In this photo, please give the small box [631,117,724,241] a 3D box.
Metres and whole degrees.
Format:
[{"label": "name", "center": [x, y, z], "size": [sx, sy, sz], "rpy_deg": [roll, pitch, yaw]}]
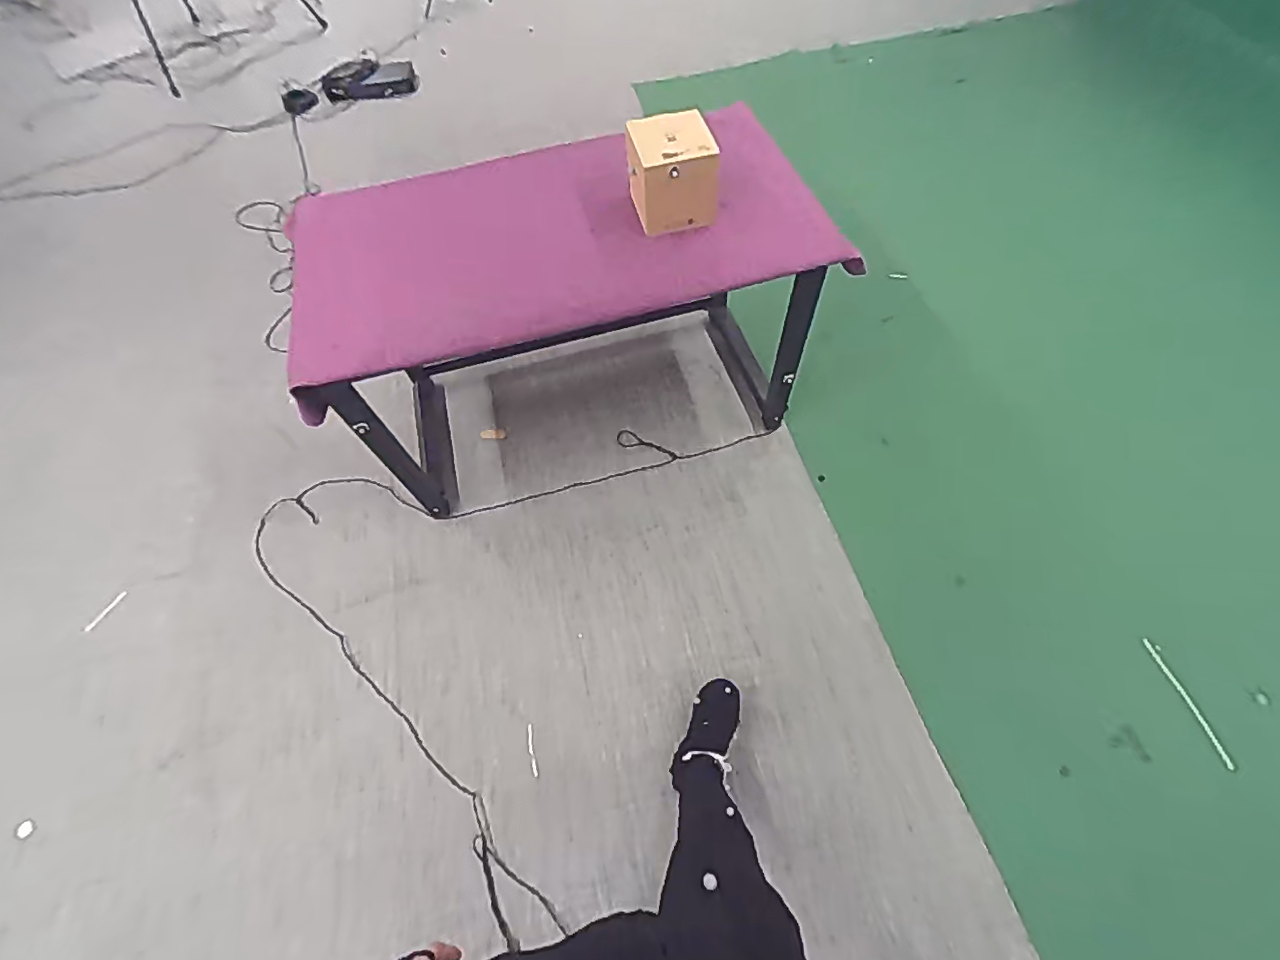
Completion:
[{"label": "small box", "center": [0.079, -0.668, 1.208], "size": [0.168, 0.176, 0.179], "rpy_deg": [-13, 60, -3]}]
